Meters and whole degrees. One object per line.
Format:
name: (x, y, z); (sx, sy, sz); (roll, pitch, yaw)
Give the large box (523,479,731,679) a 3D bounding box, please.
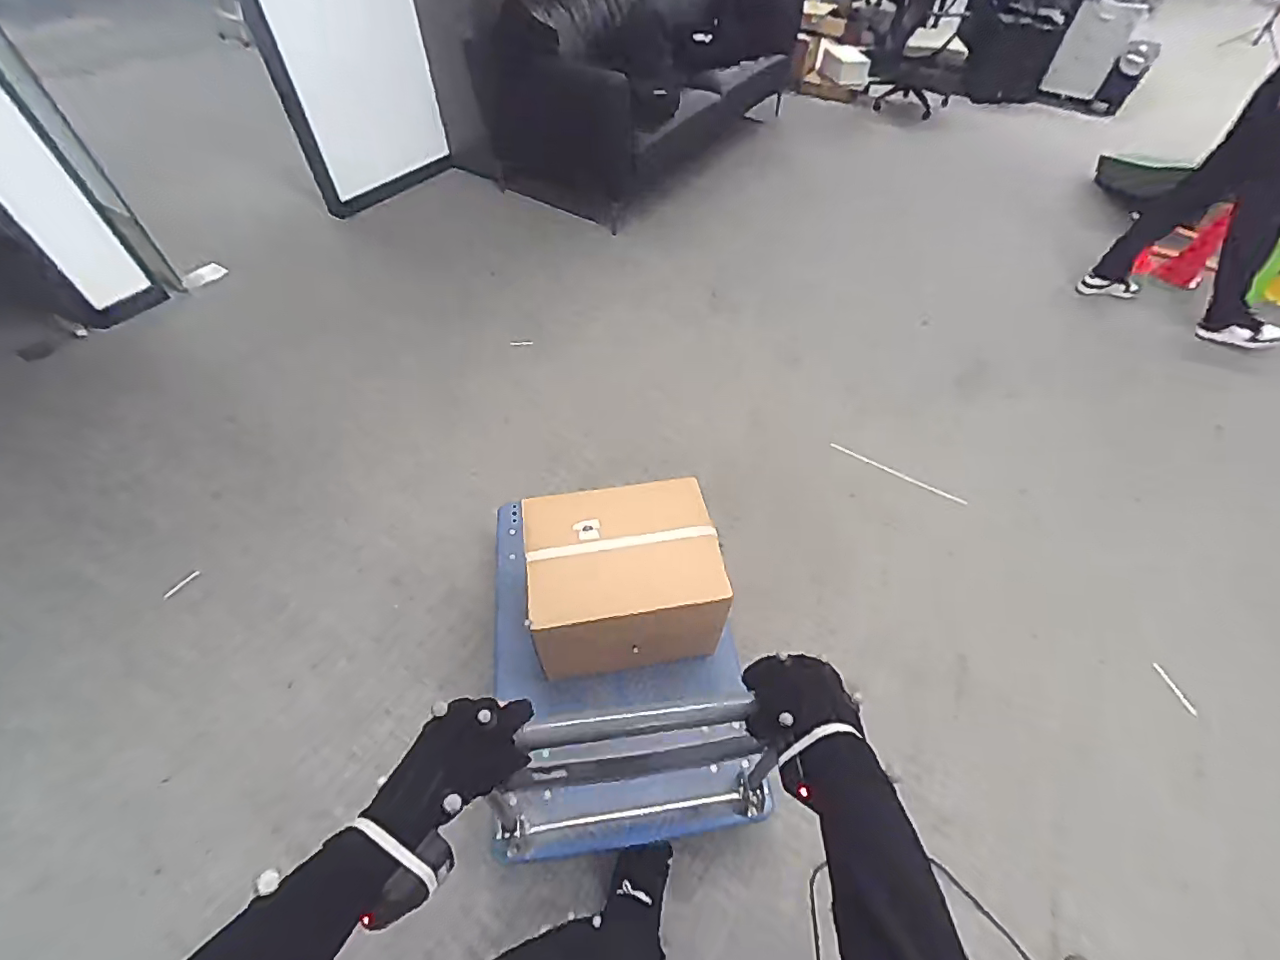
large box: (-0.040, 0.236, 1.268); (0.408, 0.320, 0.320); (-8, 52, -7)
